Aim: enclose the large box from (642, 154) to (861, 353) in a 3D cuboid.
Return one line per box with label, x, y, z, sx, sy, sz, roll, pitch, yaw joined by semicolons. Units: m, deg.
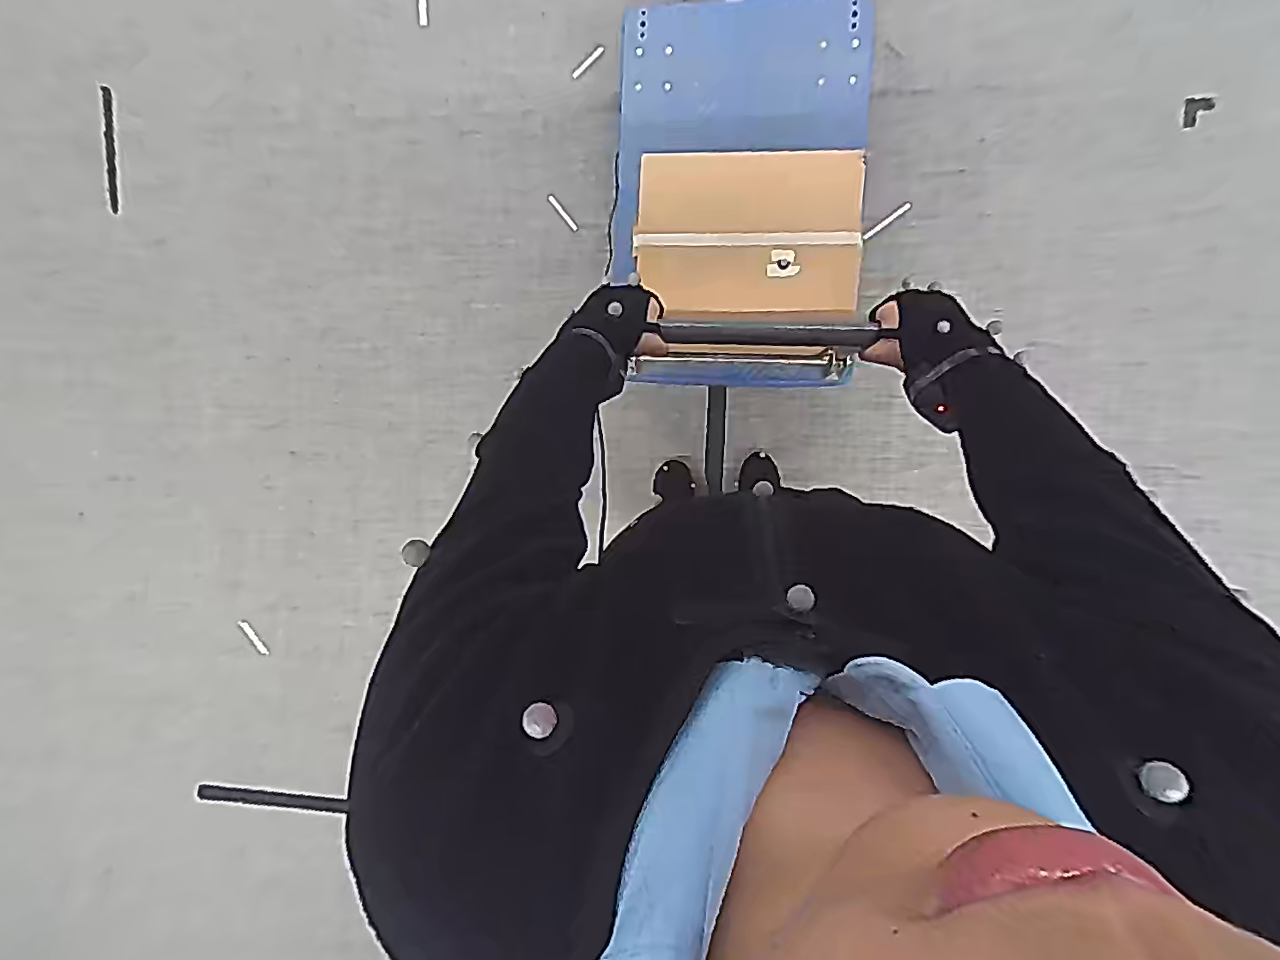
large box;0.214;-0.453;1.155;0.408;0.320;0.320;2;94;5
